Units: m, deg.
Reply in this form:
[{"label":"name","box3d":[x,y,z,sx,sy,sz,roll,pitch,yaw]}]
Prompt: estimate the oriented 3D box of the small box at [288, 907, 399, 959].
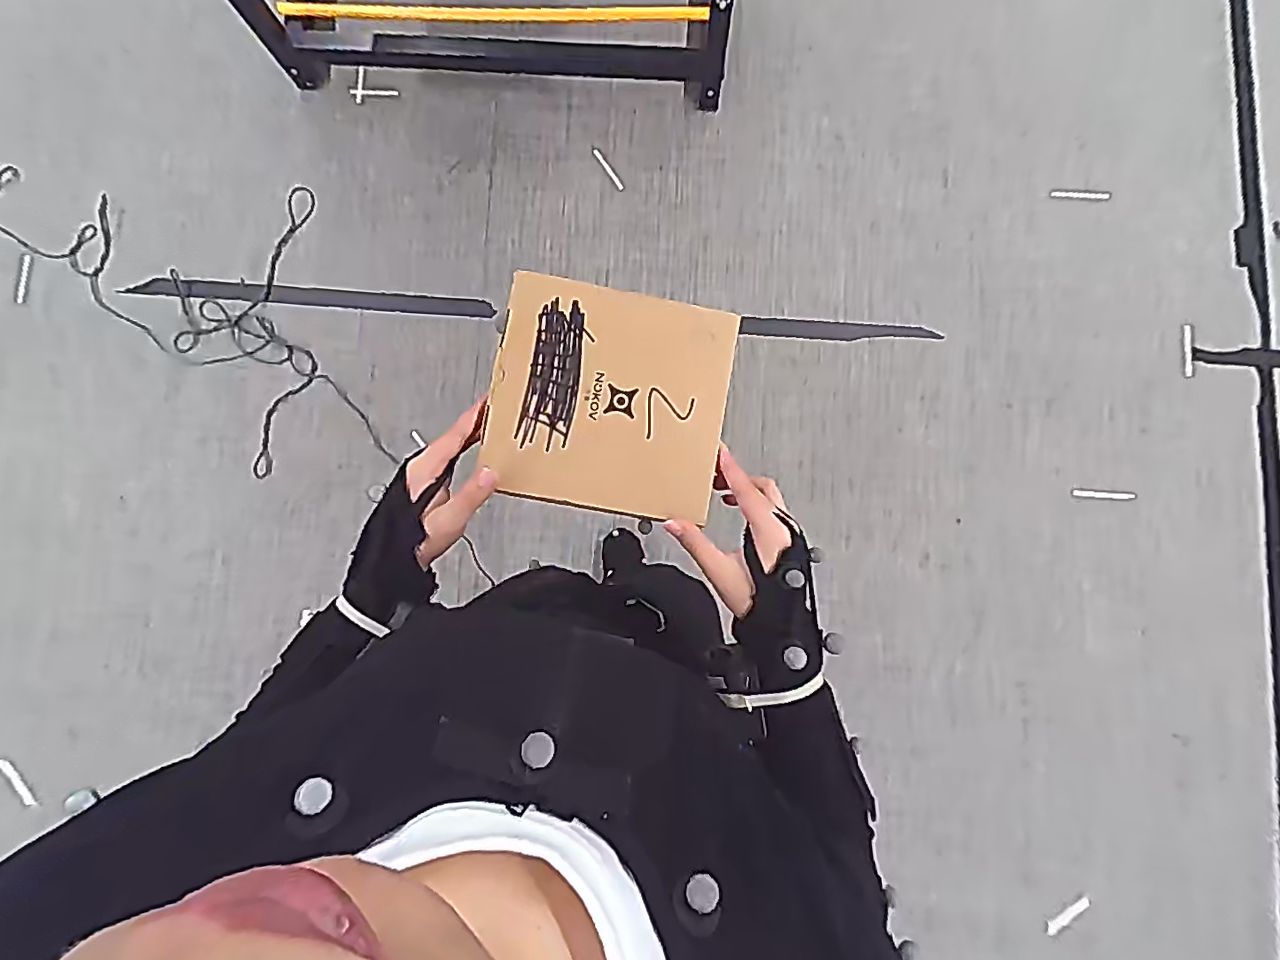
[{"label":"small box","box3d":[-0.625,1.051,1.137,0.168,0.176,0.179,1,84,1]}]
